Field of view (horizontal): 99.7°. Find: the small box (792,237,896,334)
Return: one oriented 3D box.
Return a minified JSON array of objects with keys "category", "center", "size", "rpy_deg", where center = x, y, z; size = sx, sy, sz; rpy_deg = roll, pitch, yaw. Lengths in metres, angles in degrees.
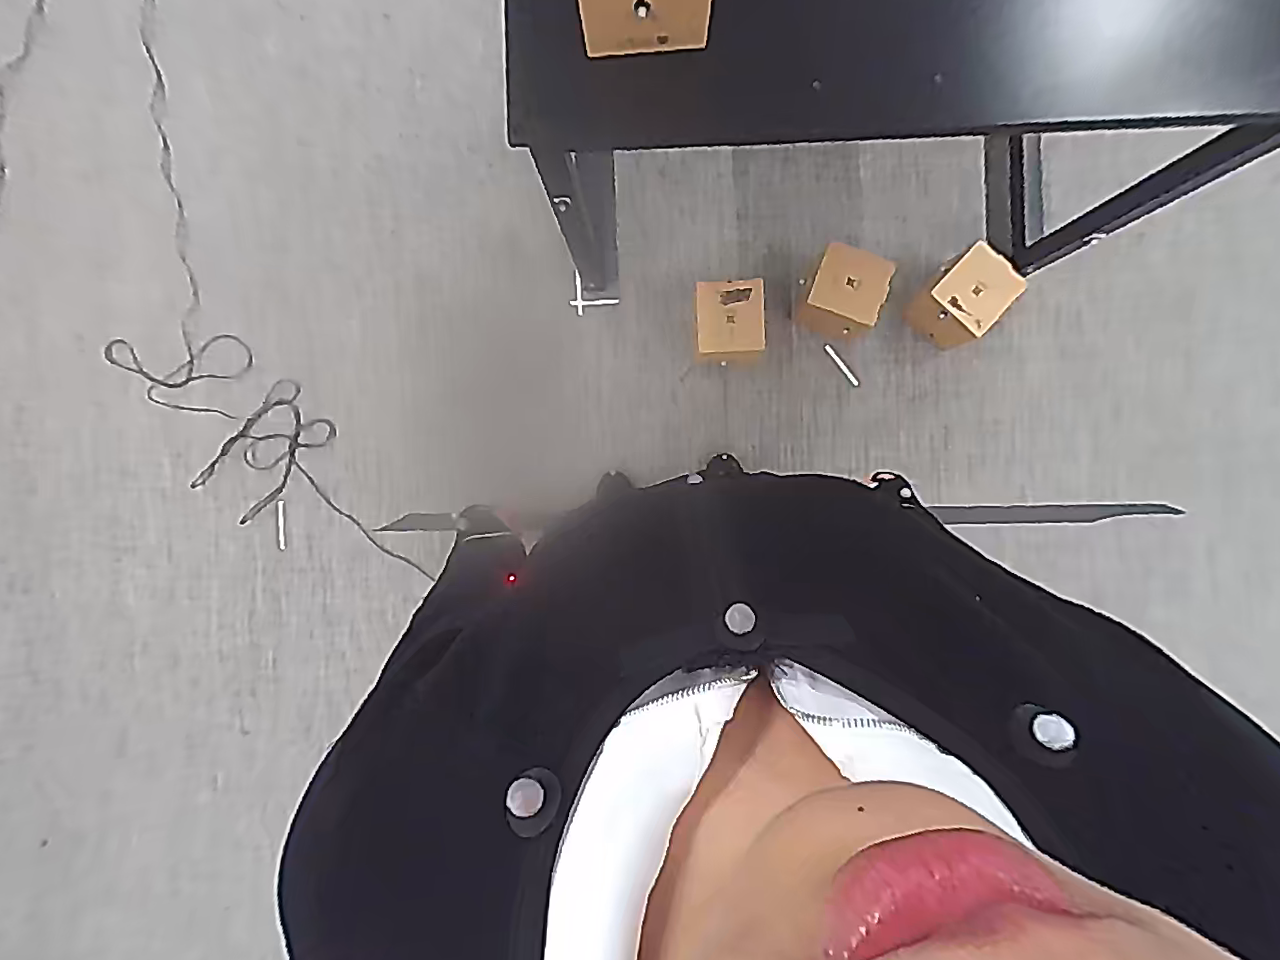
[{"category":"small box","center":[0.516,-0.490,1.392],"size":[0.179,0.176,0.168],"rpy_deg":[19,92,2]}]

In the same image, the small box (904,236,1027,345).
[{"category":"small box","center":[0.818,-0.475,1.381],"size":[0.168,0.176,0.179],"rpy_deg":[42,93,0]}]

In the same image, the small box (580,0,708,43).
[{"category":"small box","center":[0.002,-0.682,0.666],"size":[0.168,0.176,0.179],"rpy_deg":[-4,92,1]}]

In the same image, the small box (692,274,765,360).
[{"category":"small box","center":[0.224,-0.417,1.402],"size":[0.168,0.176,0.179],"rpy_deg":[-2,94,2]}]
